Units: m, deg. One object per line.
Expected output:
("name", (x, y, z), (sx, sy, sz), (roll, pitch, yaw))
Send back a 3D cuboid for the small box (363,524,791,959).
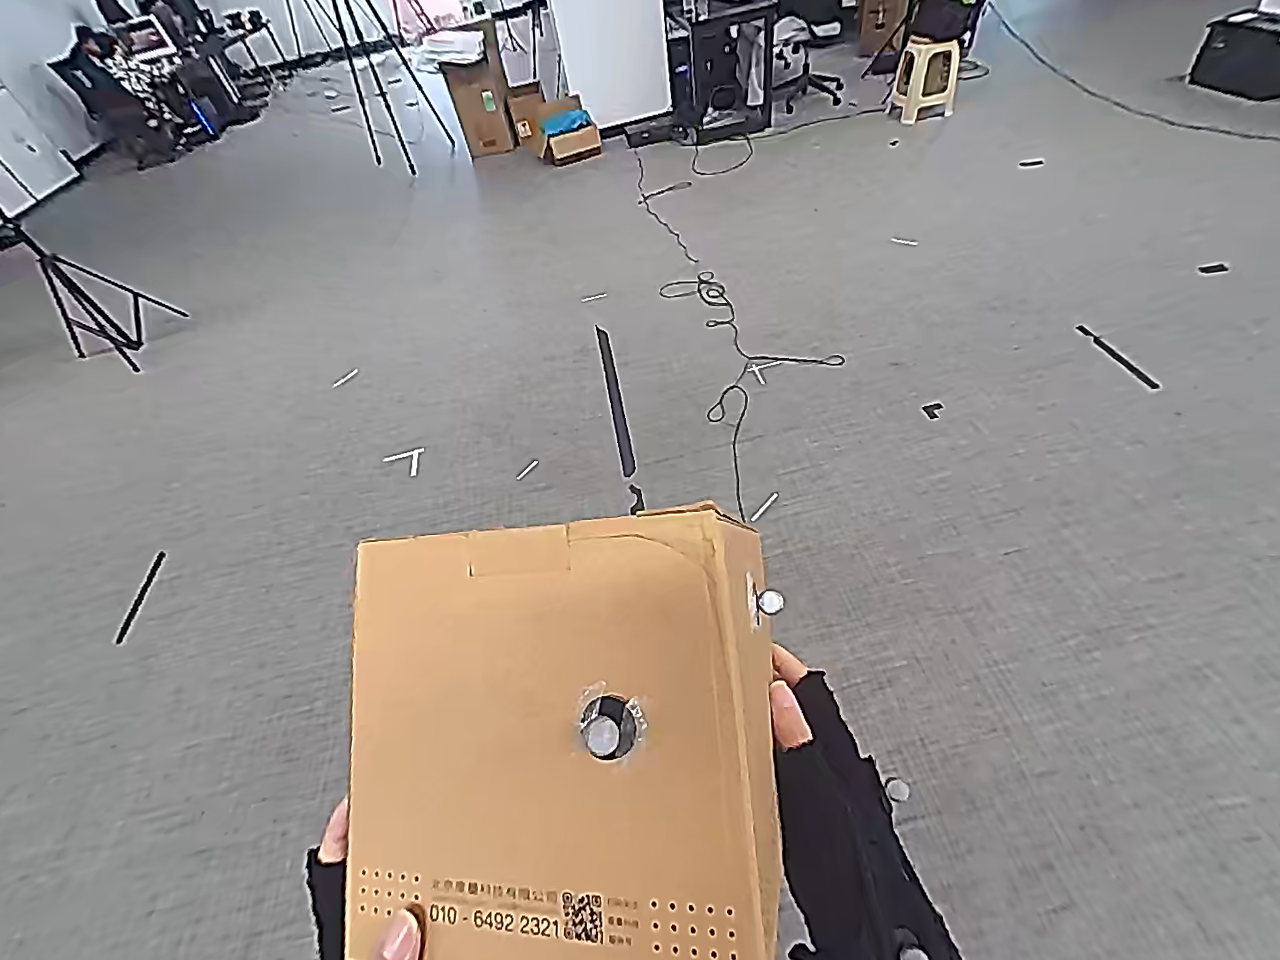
("small box", (-0.015, 0.120, 0.285), (0.168, 0.179, 0.176), (-7, 80, 17))
